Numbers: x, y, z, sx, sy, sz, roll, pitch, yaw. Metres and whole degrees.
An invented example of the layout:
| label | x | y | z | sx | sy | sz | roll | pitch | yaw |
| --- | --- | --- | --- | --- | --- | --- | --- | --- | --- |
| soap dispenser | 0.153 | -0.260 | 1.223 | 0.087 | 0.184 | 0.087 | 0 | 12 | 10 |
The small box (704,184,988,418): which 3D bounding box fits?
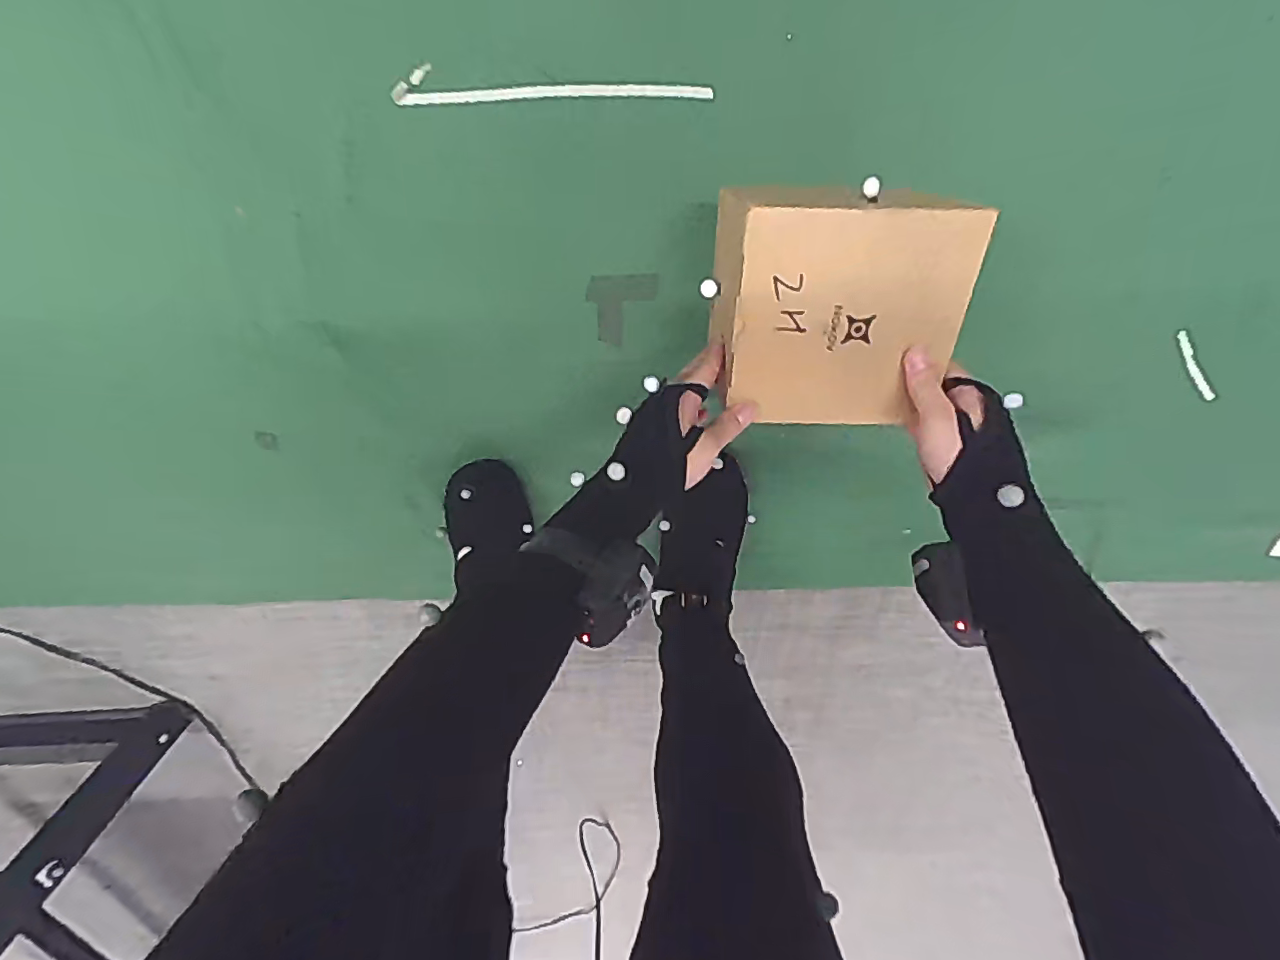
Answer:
| label | x | y | z | sx | sy | sz | roll | pitch | yaw |
| --- | --- | --- | --- | --- | --- | --- | --- | --- | --- |
| small box | 0.157 | -0.167 | 0.487 | 0.179 | 0.176 | 0.168 | 1 | 123 | 0 |
